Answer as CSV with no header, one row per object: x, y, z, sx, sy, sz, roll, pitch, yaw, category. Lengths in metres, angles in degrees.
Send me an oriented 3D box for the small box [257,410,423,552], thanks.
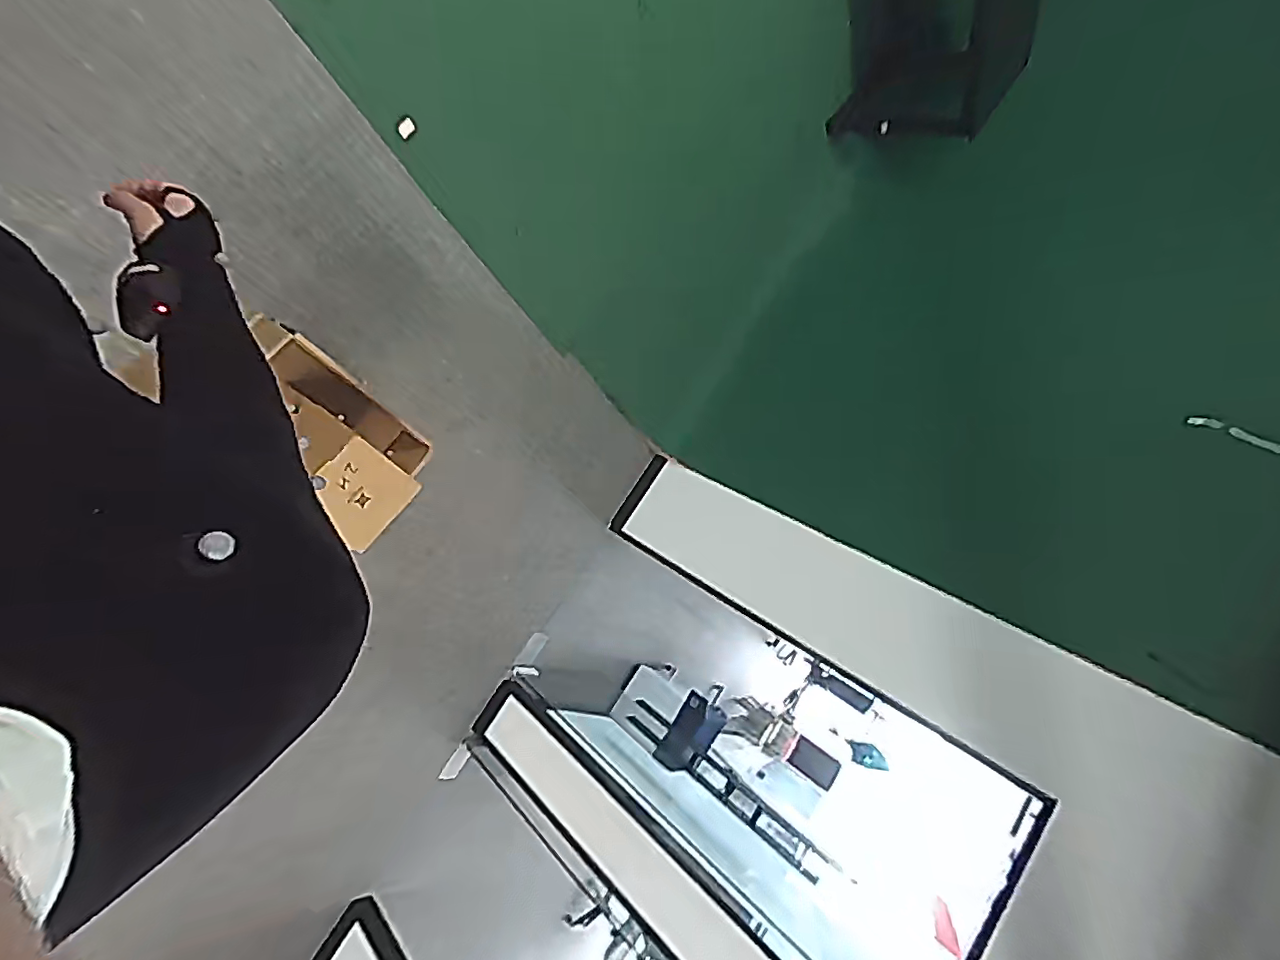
-0.550,-0.003,0.998,0.168,0.176,0.179,-52,144,-15,small box
